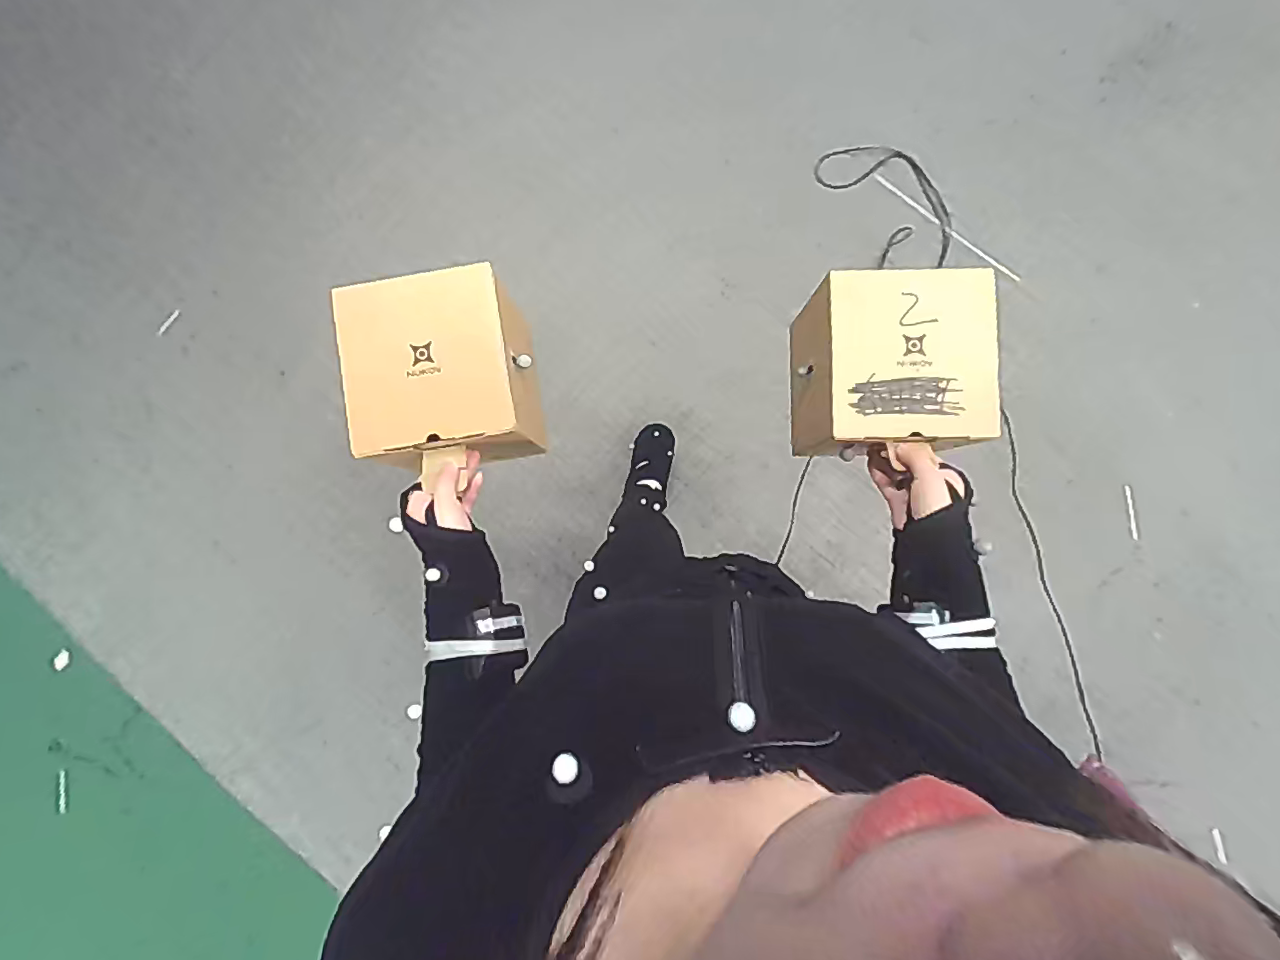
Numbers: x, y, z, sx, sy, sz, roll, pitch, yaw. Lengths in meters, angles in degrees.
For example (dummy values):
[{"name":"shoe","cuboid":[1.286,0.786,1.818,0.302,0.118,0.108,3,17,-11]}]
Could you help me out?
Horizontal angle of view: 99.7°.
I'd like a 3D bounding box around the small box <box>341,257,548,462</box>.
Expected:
[{"name":"small box","cuboid":[-0.207,-0.123,0.614,0.168,0.176,0.179,-8,87,1]}]
